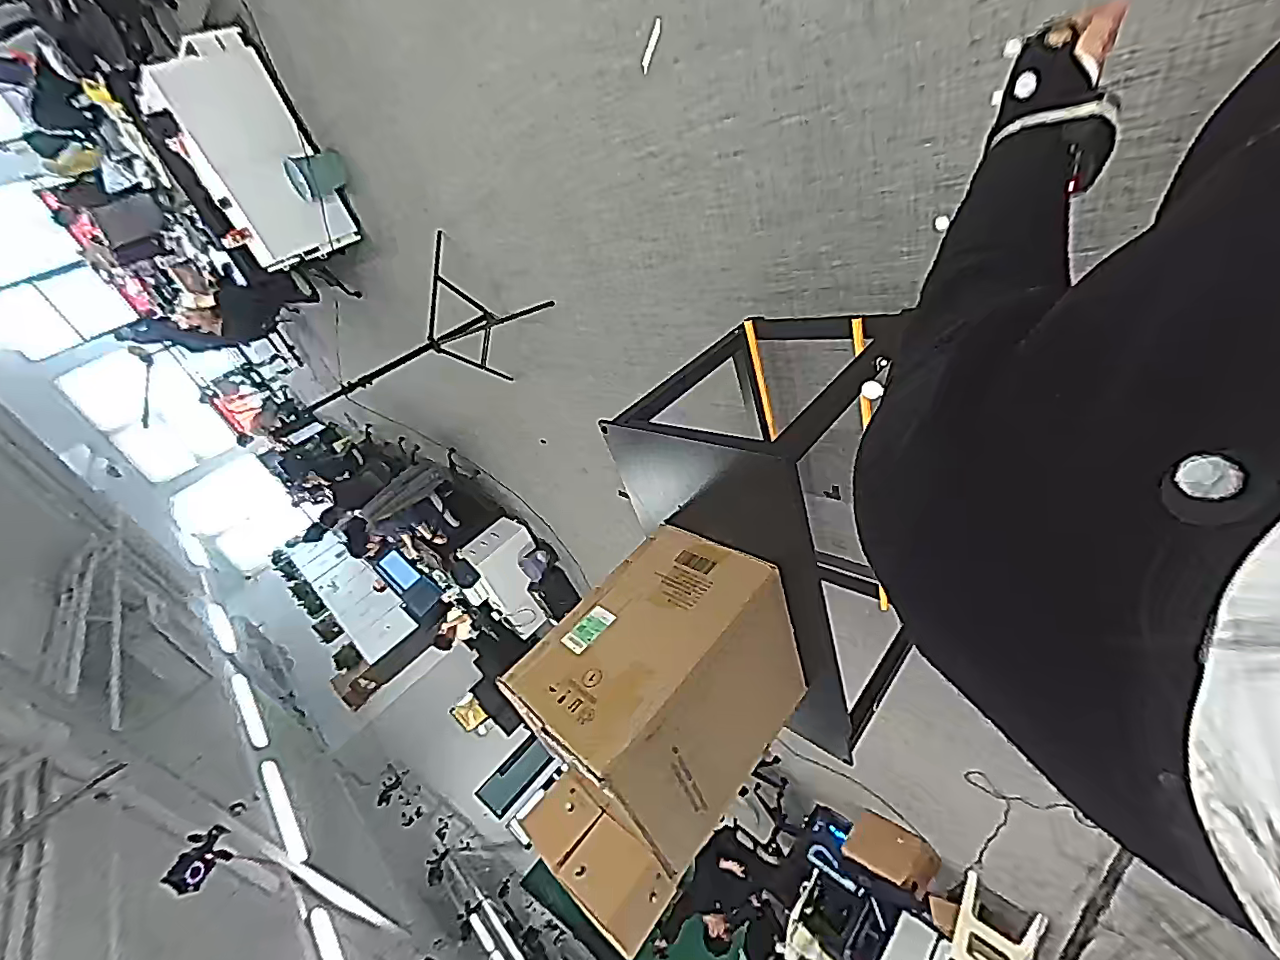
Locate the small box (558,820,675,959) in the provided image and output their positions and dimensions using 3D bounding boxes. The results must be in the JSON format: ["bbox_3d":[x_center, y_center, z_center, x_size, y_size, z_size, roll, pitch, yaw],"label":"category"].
[{"bbox_3d":[-0.050,0.926,1.241,0.179,0.176,0.168,9,131,45],"label":"small box"}]

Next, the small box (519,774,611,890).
[{"bbox_3d":[-0.170,0.899,1.376,0.168,0.176,0.179,18,138,46],"label":"small box"}]
